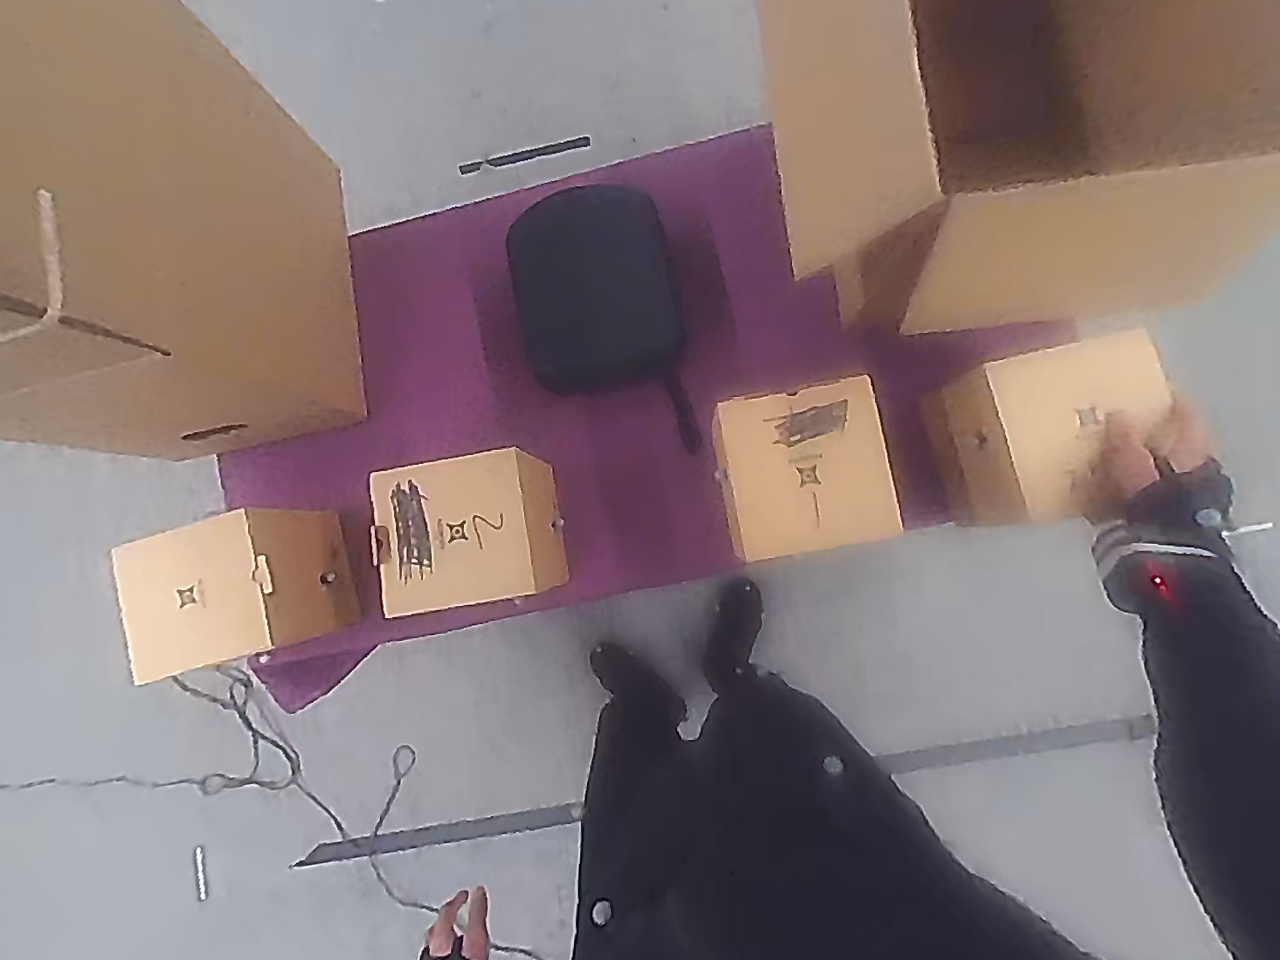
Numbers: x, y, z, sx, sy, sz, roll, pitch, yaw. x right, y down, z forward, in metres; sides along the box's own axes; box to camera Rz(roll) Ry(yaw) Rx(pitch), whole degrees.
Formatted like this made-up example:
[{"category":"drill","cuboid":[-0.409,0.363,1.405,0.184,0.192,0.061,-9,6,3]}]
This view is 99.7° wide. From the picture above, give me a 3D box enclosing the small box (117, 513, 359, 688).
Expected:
[{"category":"small box","cuboid":[-0.507,0.148,0.703,0.179,0.176,0.168,-17,83,2]}]
